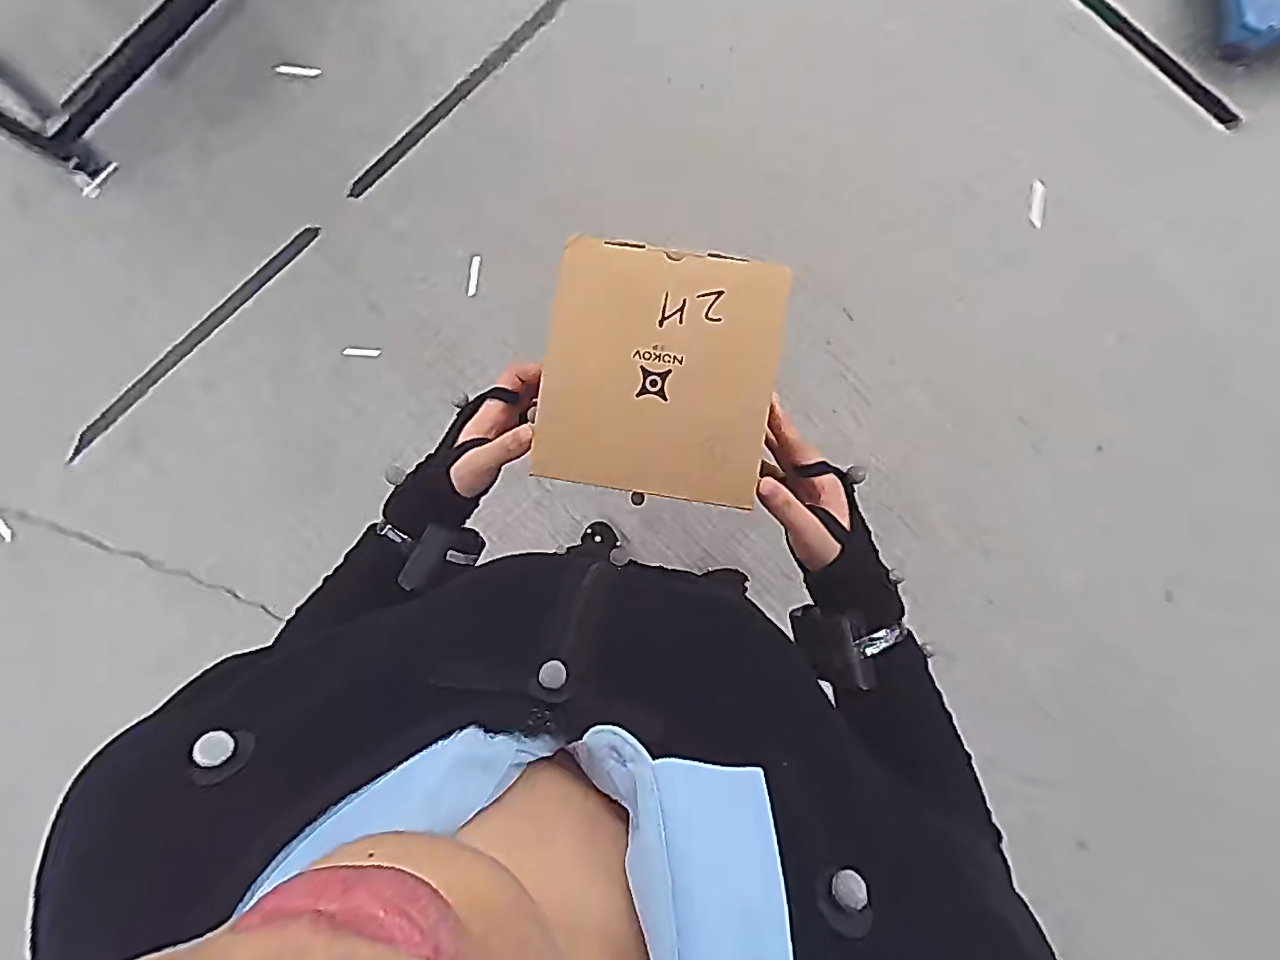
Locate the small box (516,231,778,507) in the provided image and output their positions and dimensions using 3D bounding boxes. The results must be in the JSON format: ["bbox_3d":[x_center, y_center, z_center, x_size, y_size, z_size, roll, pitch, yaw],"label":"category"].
[{"bbox_3d":[0.009,-0.079,0.455,0.168,0.176,0.179,8,91,4],"label":"small box"}]
